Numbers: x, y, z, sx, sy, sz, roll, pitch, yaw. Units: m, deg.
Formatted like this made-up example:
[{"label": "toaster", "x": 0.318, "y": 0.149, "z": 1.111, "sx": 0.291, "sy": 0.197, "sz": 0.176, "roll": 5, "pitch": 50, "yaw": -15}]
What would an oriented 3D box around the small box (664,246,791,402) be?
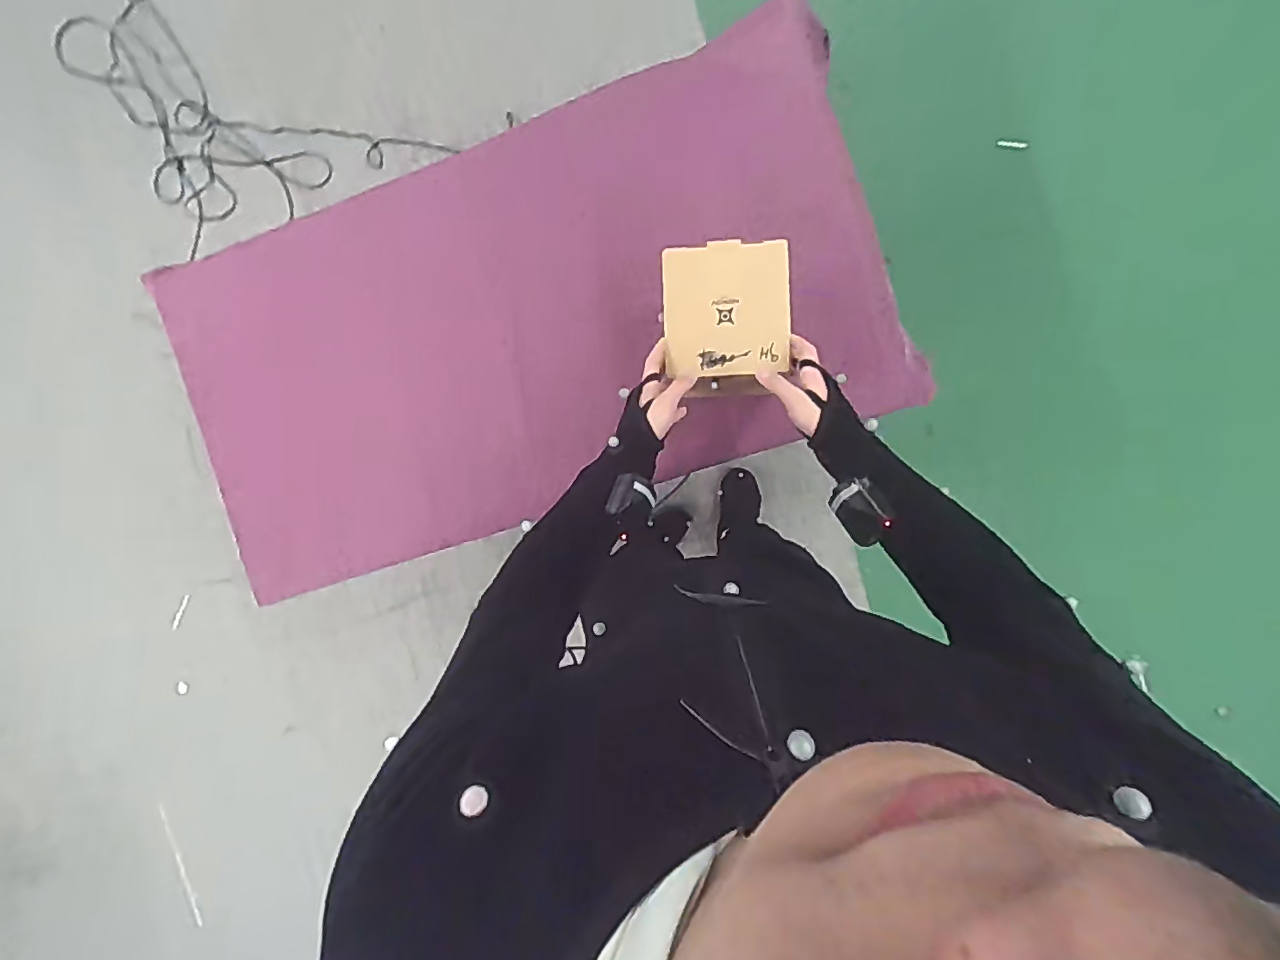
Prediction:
[{"label": "small box", "x": 0.122, "y": -0.214, "z": 0.783, "sx": 0.168, "sy": 0.176, "sz": 0.179, "roll": -1, "pitch": 90, "yaw": 8}]
